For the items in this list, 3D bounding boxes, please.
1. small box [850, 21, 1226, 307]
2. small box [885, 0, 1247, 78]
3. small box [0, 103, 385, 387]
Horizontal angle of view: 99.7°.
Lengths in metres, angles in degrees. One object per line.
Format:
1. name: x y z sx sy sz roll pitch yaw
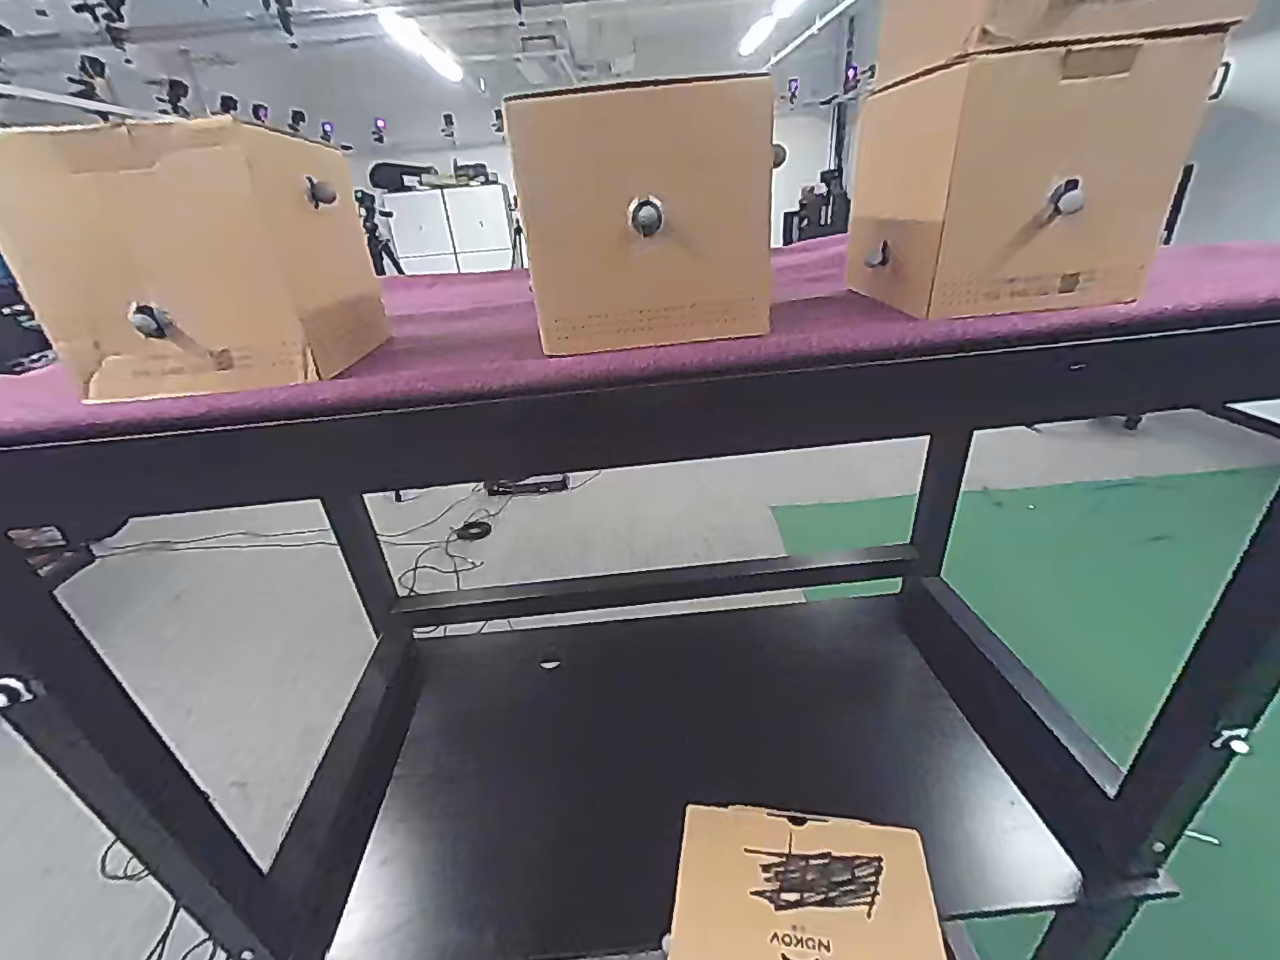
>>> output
1. small box: 0.290 -0.245 0.448 0.168 0.176 0.179 -5 29 0
2. small box: 0.287 -0.389 0.370 0.168 0.176 0.179 -5 29 3
3. small box: -0.322 -0.179 0.427 0.168 0.176 0.179 -6 27 -4
